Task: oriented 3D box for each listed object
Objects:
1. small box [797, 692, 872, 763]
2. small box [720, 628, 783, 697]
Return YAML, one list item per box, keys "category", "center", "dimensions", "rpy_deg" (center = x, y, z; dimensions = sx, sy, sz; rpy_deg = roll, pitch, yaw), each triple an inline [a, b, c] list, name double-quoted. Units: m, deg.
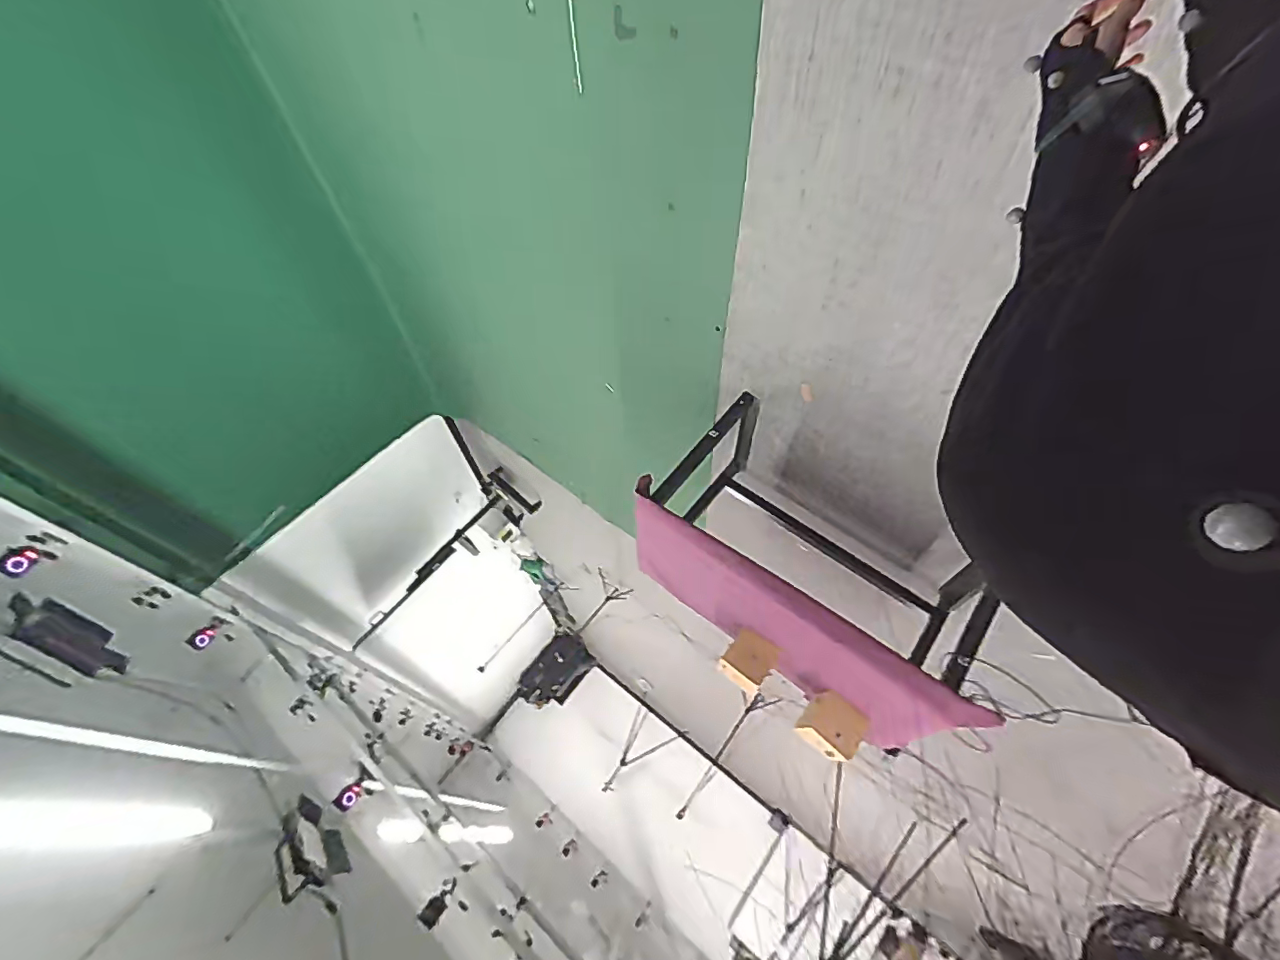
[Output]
- category: "small box"
  center: [0.727, 0.921, 2.016]
  dimensions: [0.179, 0.176, 0.168]
  rpy_deg: [40, 154, 10]
- category: "small box"
  center: [0.440, 0.713, 2.122]
  dimensions: [0.179, 0.176, 0.168]
  rpy_deg: [32, 152, 21]
